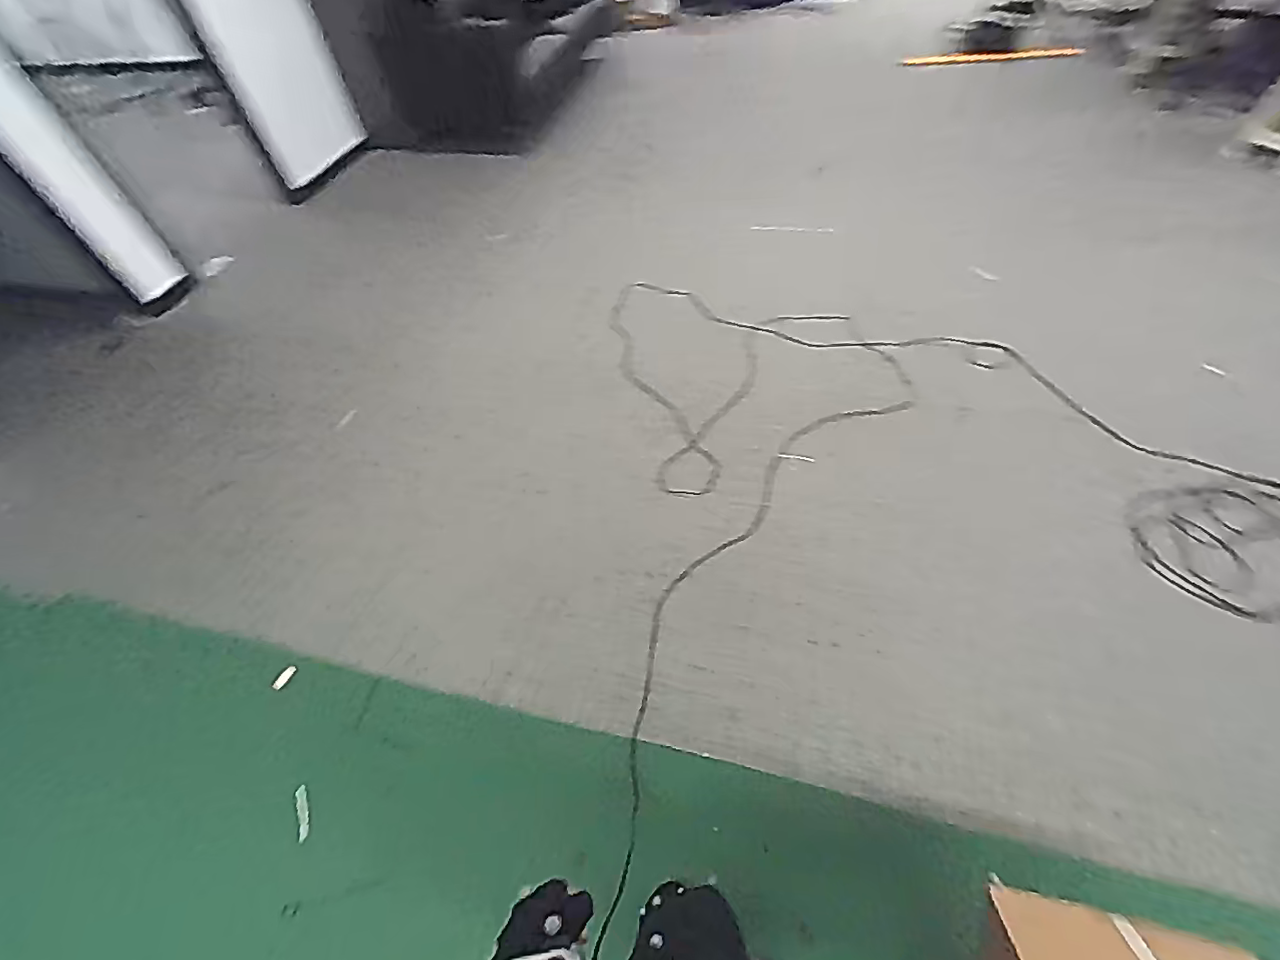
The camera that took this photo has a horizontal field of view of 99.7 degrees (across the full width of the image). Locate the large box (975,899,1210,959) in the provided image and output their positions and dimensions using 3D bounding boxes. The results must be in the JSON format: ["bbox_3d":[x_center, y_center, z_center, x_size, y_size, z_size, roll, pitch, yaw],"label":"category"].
[{"bbox_3d":[0.573,0.775,0.558,0.320,0.408,0.320,9,94,15],"label":"large box"}]
